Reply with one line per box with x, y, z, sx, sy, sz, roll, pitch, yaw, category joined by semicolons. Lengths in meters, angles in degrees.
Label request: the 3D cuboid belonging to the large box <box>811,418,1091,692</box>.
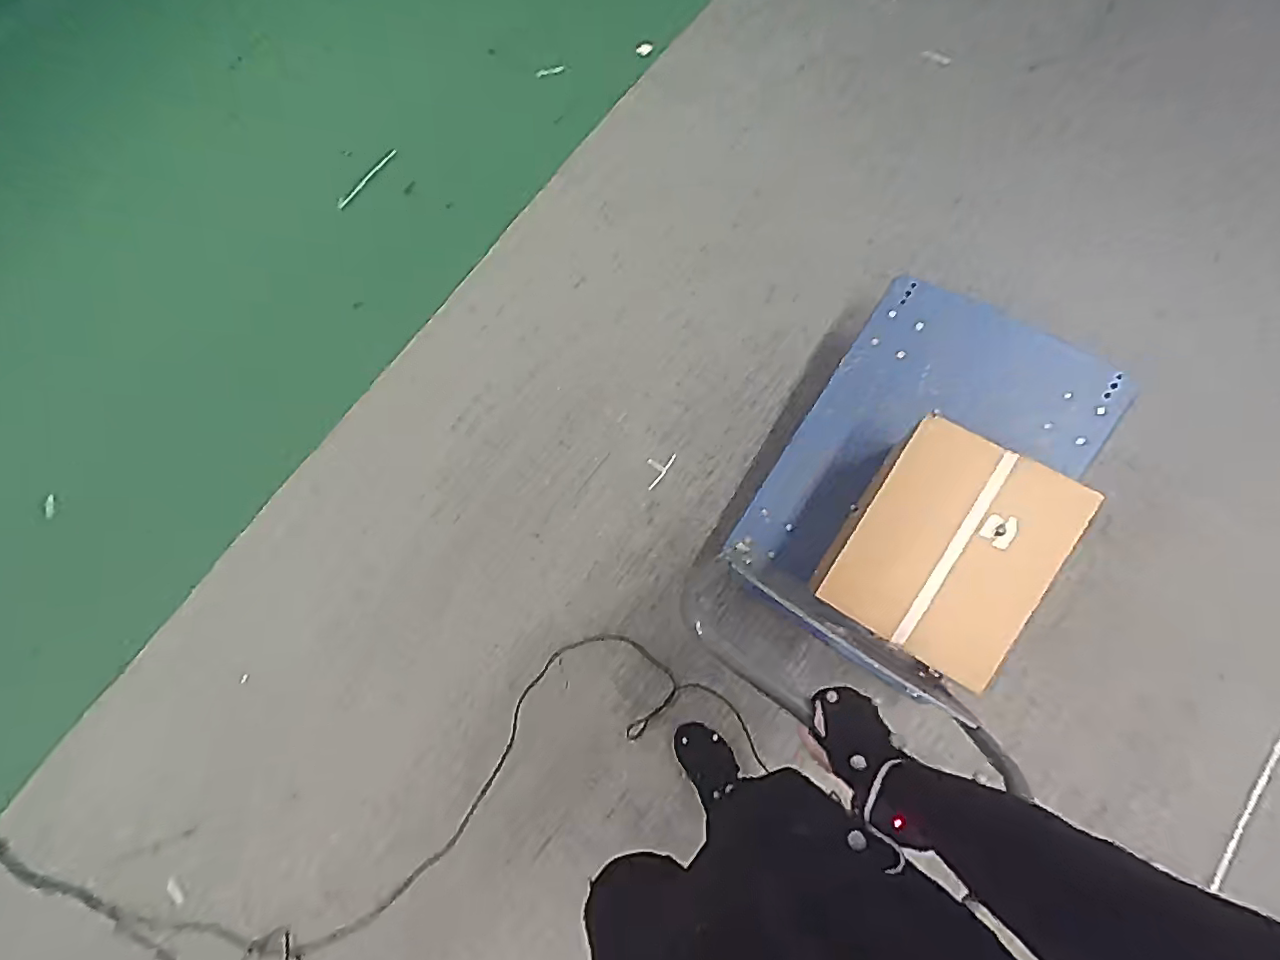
0.593;0.149;1.119;0.320;0.320;0.408;32;90;16;large box
